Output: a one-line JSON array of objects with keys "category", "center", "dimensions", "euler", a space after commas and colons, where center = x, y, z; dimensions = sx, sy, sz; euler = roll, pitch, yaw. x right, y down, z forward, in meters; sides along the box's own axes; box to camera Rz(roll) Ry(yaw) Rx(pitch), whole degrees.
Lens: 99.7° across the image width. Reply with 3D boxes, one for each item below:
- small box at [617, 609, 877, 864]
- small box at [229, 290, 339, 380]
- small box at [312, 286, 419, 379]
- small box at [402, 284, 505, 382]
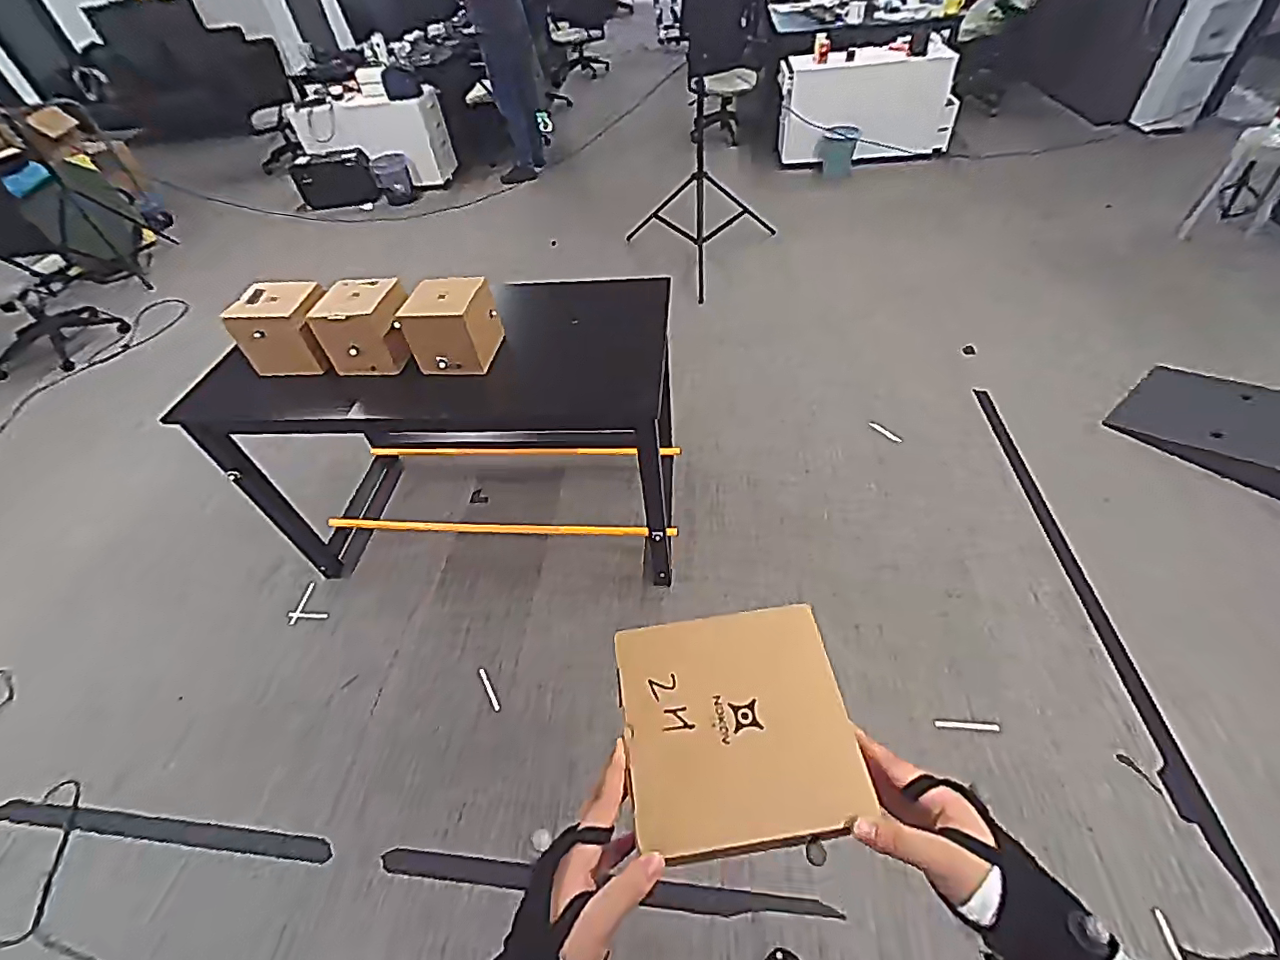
[{"category": "small box", "center": [0.079, 0.236, 0.490], "dimensions": [0.179, 0.176, 0.168], "euler": [-8, 52, -2]}, {"category": "small box", "center": [-0.887, -0.370, 1.392], "dimensions": [0.179, 0.176, 0.168], "euler": [0, 47, 5]}, {"category": "small box", "center": [-0.673, -0.368, 1.367], "dimensions": [0.168, 0.176, 0.179], "euler": [1, 48, 8]}, {"category": "small box", "center": [-0.449, -0.363, 1.338], "dimensions": [0.168, 0.176, 0.179], "euler": [0, 48, 9]}]
